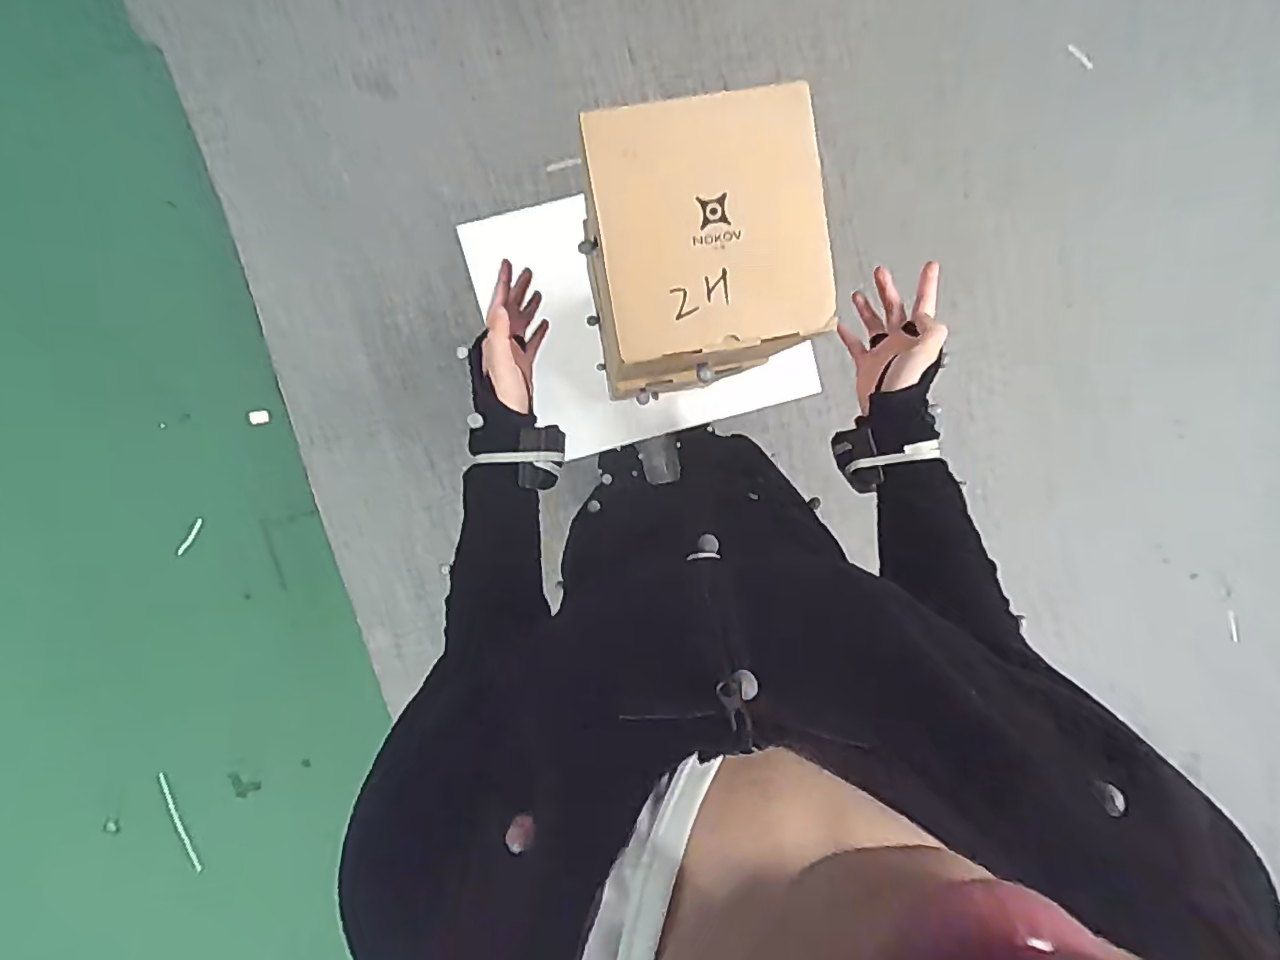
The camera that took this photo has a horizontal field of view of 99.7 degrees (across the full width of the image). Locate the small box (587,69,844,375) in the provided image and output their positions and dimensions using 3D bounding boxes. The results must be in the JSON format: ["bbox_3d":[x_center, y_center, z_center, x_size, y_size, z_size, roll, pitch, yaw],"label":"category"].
[{"bbox_3d":[0.050,-0.195,0.459,0.168,0.176,0.179,-10,96,-2],"label":"small box"}]

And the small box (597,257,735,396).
[{"bbox_3d":[0.029,-0.224,0.787,0.168,0.176,0.179,-9,96,-3],"label":"small box"}]
